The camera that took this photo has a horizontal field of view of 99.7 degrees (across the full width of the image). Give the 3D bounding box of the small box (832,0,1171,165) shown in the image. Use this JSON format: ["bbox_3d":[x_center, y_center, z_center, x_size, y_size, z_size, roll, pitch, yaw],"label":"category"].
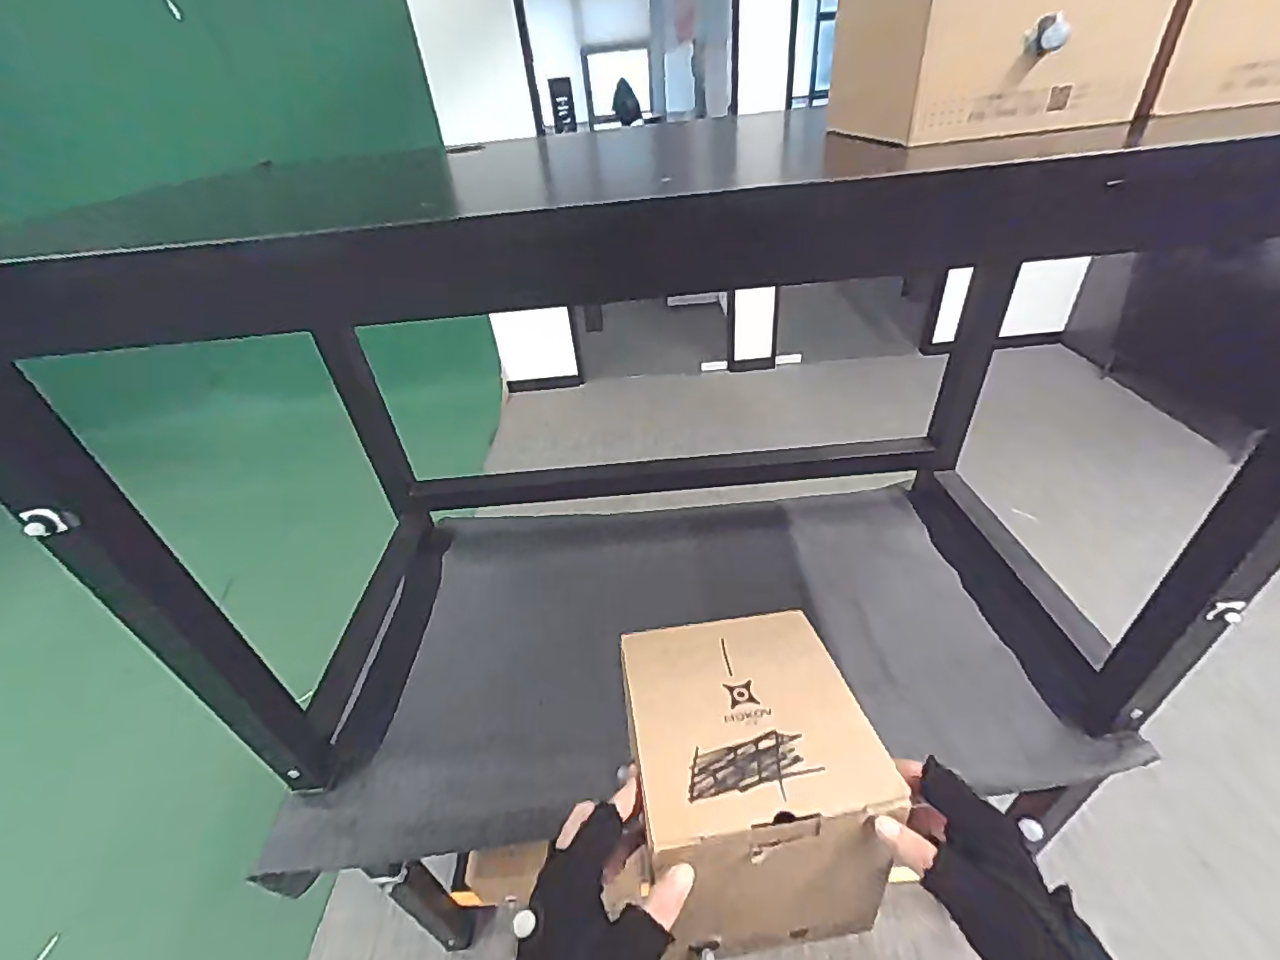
[{"bbox_3d":[0.262,-0.353,0.420,0.168,0.176,0.179,-6,36,1],"label":"small box"}]
